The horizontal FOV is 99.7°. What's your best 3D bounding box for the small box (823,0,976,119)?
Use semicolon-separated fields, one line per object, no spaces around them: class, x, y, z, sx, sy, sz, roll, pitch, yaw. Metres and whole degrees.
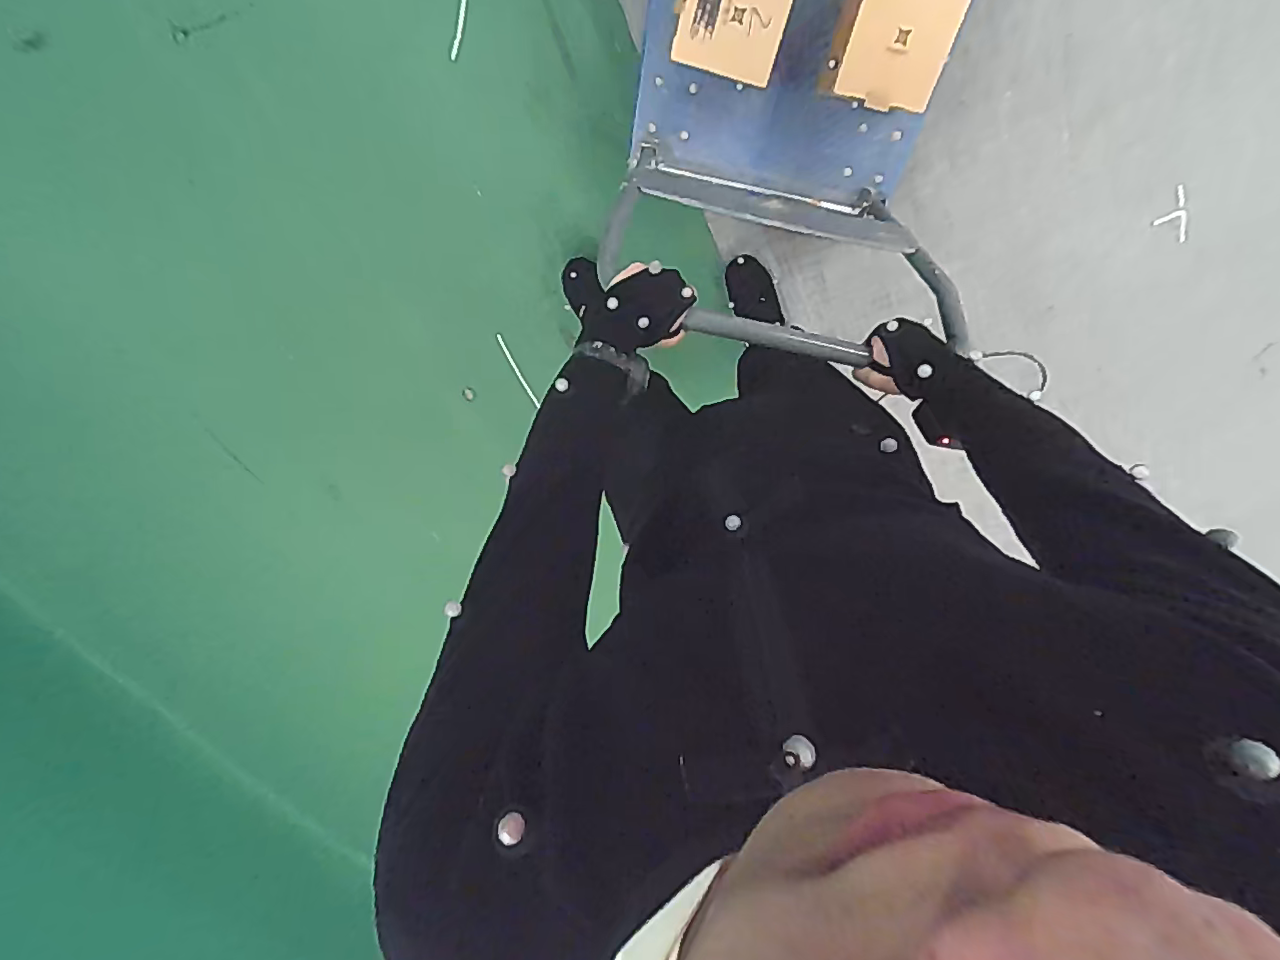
small box;0.436;-0.757;0.942;0.168;0.176;0.179;12;128;-2
